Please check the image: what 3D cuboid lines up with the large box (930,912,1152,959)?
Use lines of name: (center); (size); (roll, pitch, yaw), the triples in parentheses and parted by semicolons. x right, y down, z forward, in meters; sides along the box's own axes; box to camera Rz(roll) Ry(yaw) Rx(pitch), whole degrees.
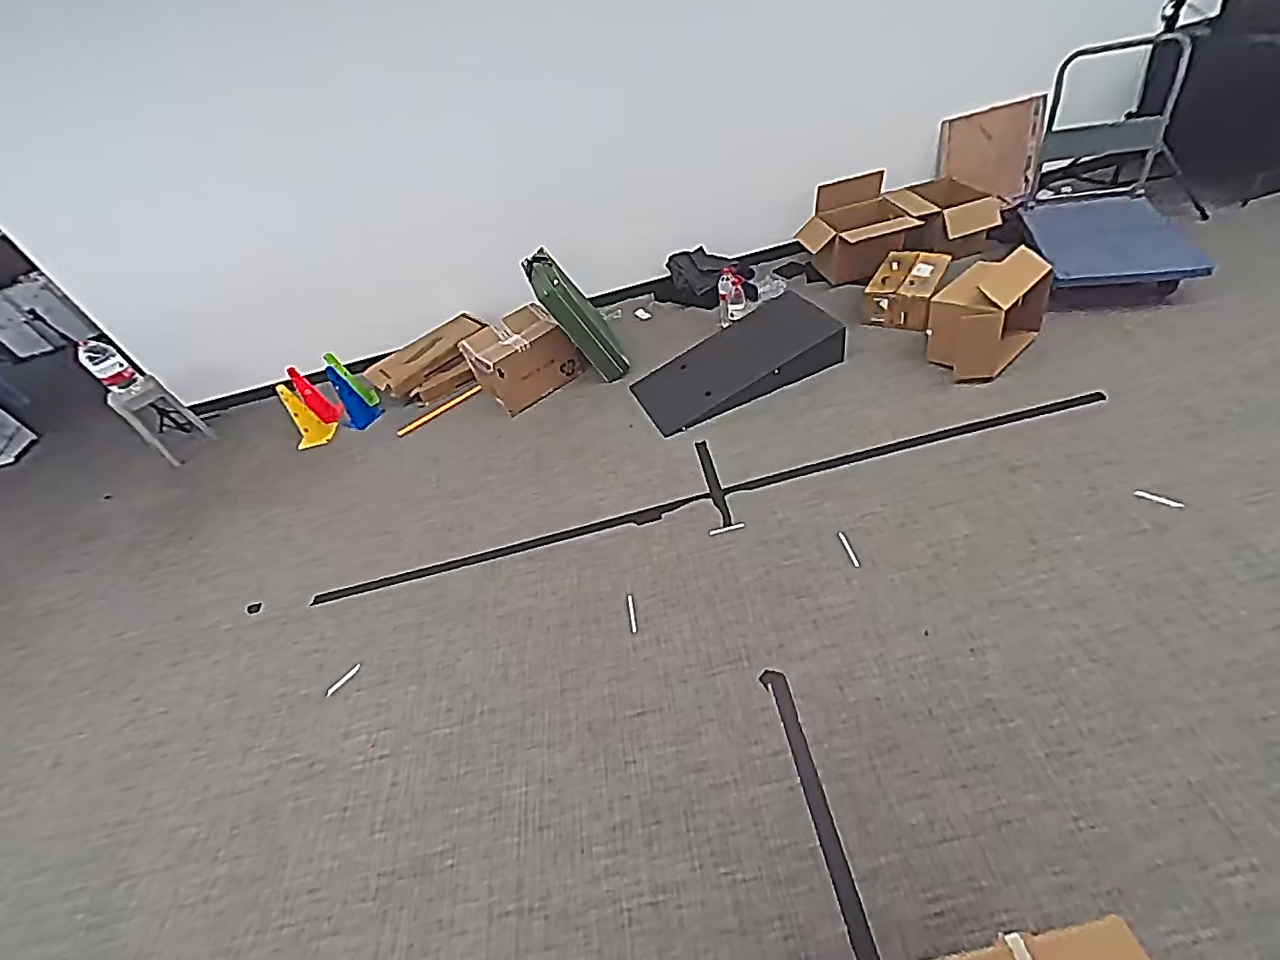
large box: (0.649, 0.920, 0.779); (0.320, 0.320, 0.408); (-20, 45, 6)
